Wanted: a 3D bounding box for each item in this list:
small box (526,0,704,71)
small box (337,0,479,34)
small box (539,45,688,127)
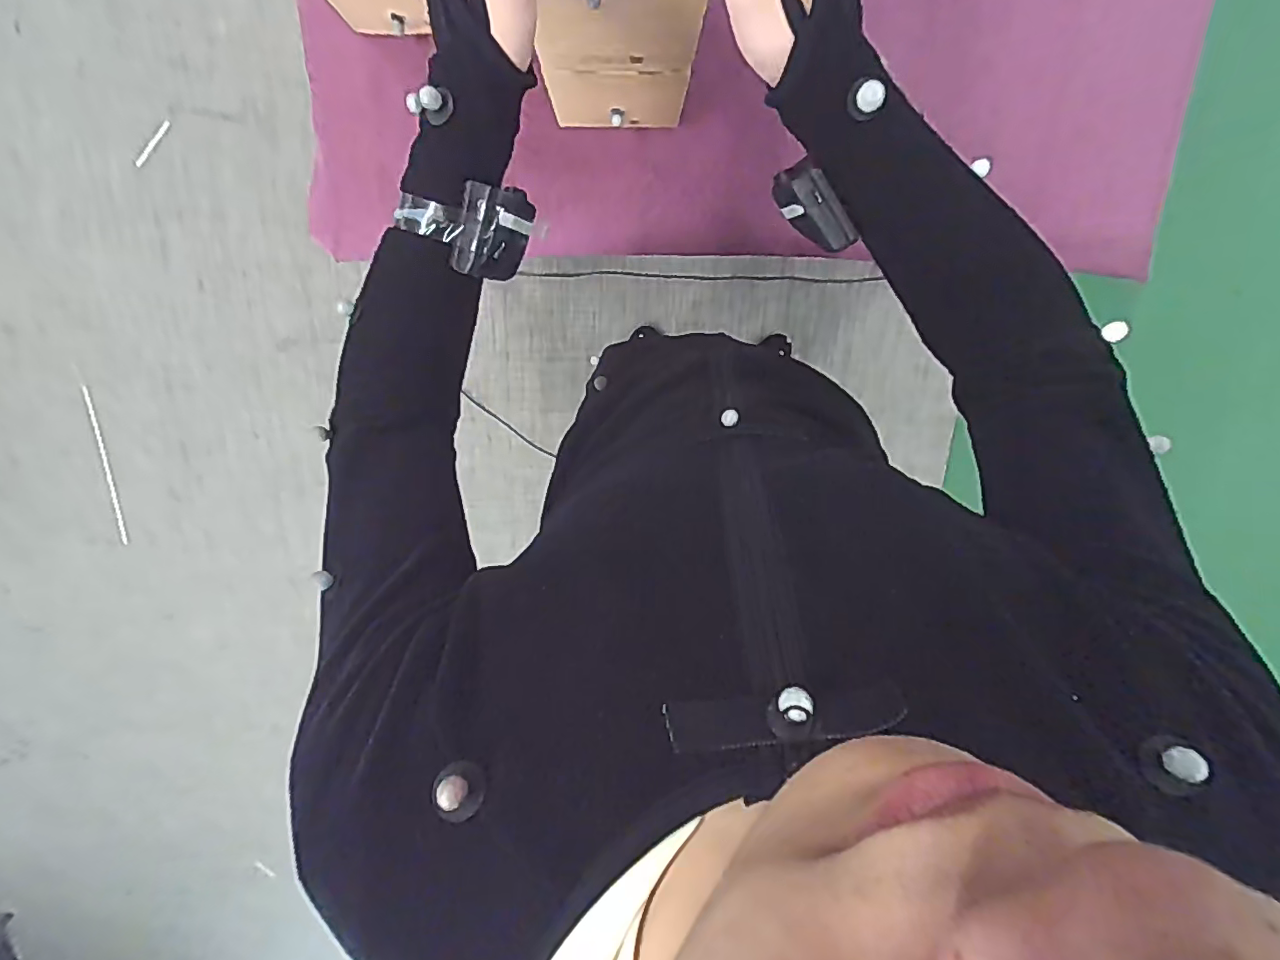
[{"bbox_3d":[-0.026,-0.513,0.489,0.168,0.176,0.179,-1,105,-1],"label":"small box"},{"bbox_3d":[-0.291,-0.653,0.613,0.168,0.176,0.179,-1,106,-1],"label":"small box"},{"bbox_3d":[-0.030,-0.554,0.648,0.168,0.176,0.179,0,106,-1],"label":"small box"}]
